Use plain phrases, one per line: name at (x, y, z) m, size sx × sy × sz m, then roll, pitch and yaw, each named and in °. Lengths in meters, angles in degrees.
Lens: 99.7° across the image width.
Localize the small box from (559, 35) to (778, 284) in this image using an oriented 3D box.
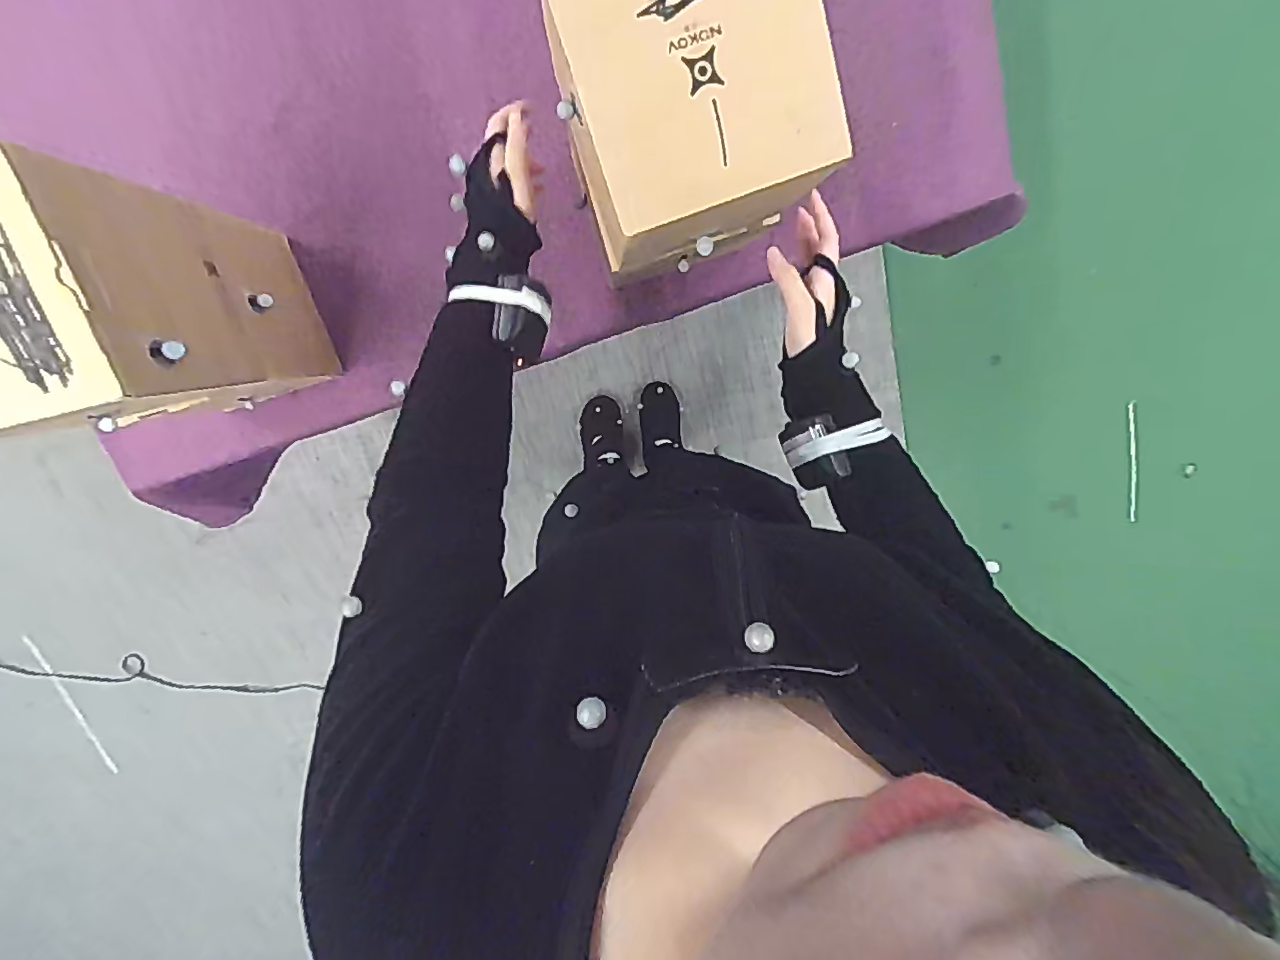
small box at (0.027, -0.321, 0.584) m, size 0.179 × 0.176 × 0.168 m, roll -17°, pitch 106°, yaw 1°

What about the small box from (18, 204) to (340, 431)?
small box at (-0.472, -0.169, 0.590) m, size 0.168 × 0.176 × 0.179 m, roll -17°, pitch 105°, yaw 0°
